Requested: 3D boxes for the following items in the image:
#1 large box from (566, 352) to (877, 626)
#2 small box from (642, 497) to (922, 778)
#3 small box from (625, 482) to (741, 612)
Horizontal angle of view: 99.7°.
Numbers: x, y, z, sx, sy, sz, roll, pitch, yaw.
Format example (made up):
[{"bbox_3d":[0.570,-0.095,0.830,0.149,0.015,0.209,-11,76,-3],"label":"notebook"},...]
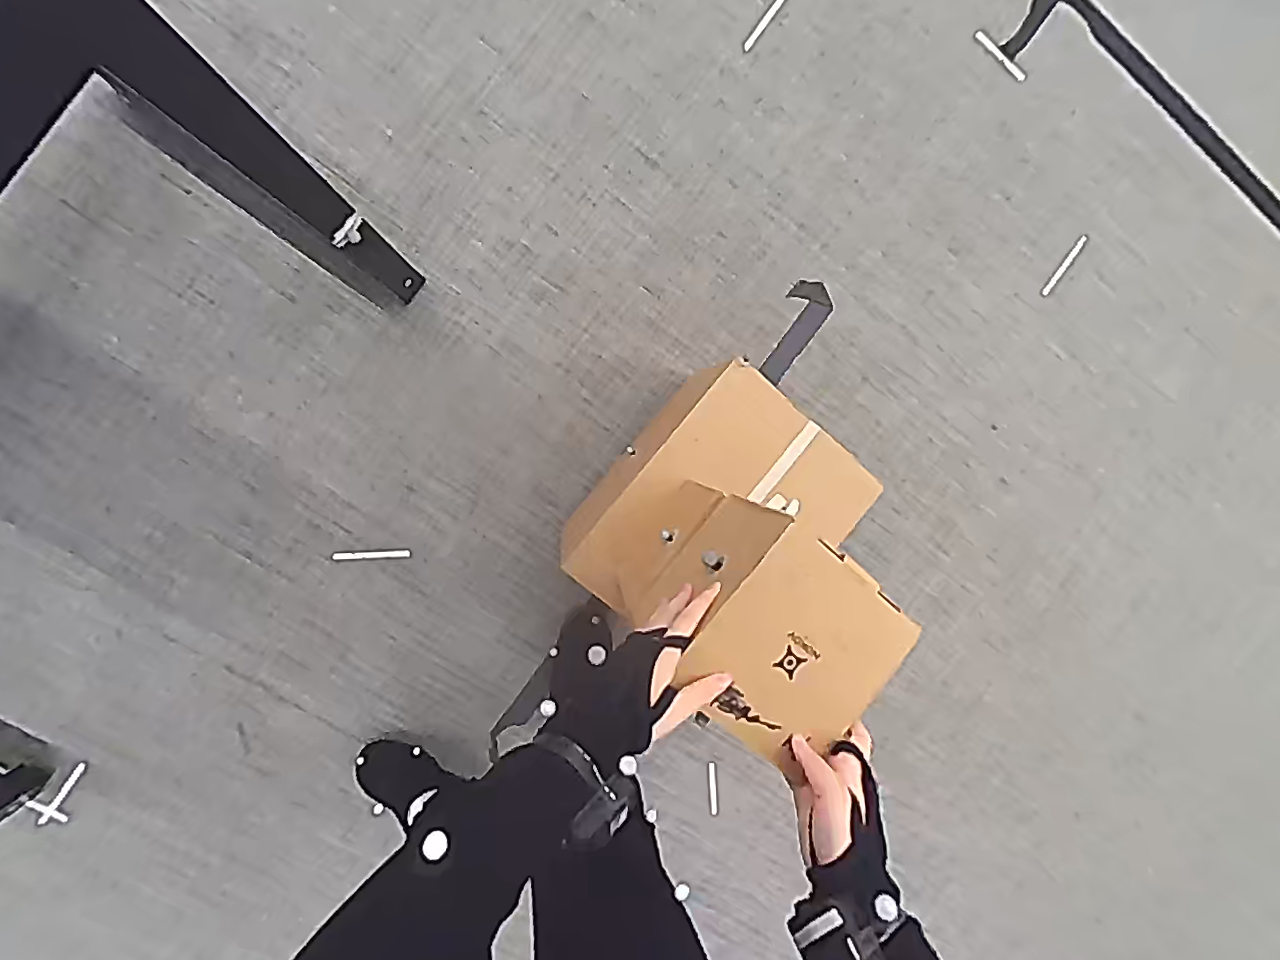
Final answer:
[{"bbox_3d":[0.108,0.050,0.949,0.320,0.320,0.408,40,88,-10],"label":"large box"},{"bbox_3d":[0.120,0.134,0.532,0.168,0.176,0.179,40,88,-10],"label":"small box"},{"bbox_3d":[0.094,0.118,0.704,0.168,0.176,0.179,40,90,-8],"label":"small box"}]
